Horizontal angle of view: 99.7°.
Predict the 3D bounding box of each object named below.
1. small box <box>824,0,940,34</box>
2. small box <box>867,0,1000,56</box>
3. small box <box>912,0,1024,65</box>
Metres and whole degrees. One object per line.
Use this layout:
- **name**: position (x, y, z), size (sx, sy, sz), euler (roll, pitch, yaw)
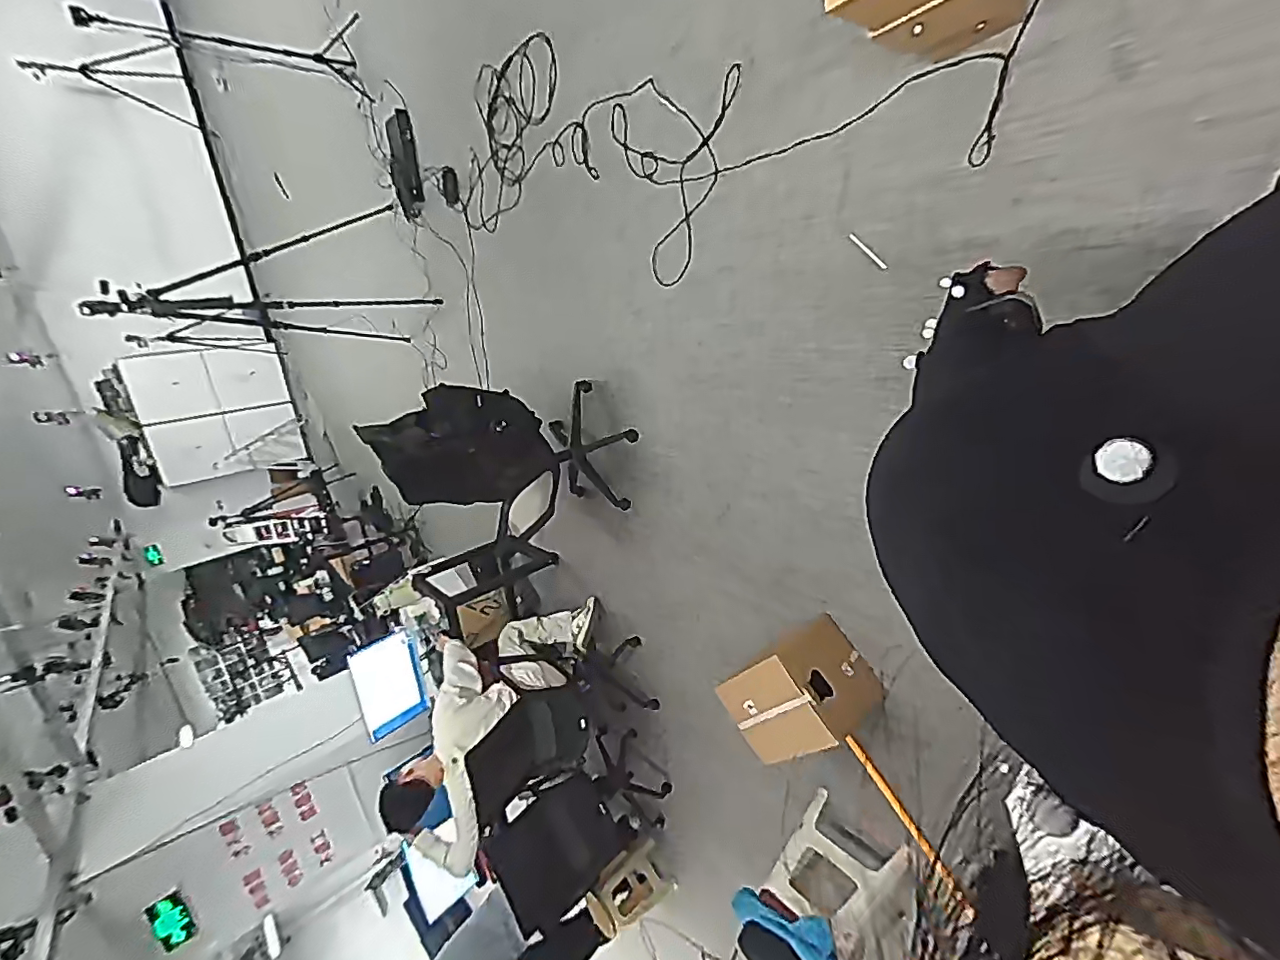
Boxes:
- **small box**: position (0.422, -0.886, 0.894), size (0.179, 0.176, 0.168), euler (7, 112, 48)
- **small box**: position (0.541, -0.927, 0.999), size (0.179, 0.176, 0.168), euler (8, 113, 48)
- **small box**: position (0.657, -0.989, 1.096), size (0.179, 0.176, 0.168), euler (4, 108, 50)
